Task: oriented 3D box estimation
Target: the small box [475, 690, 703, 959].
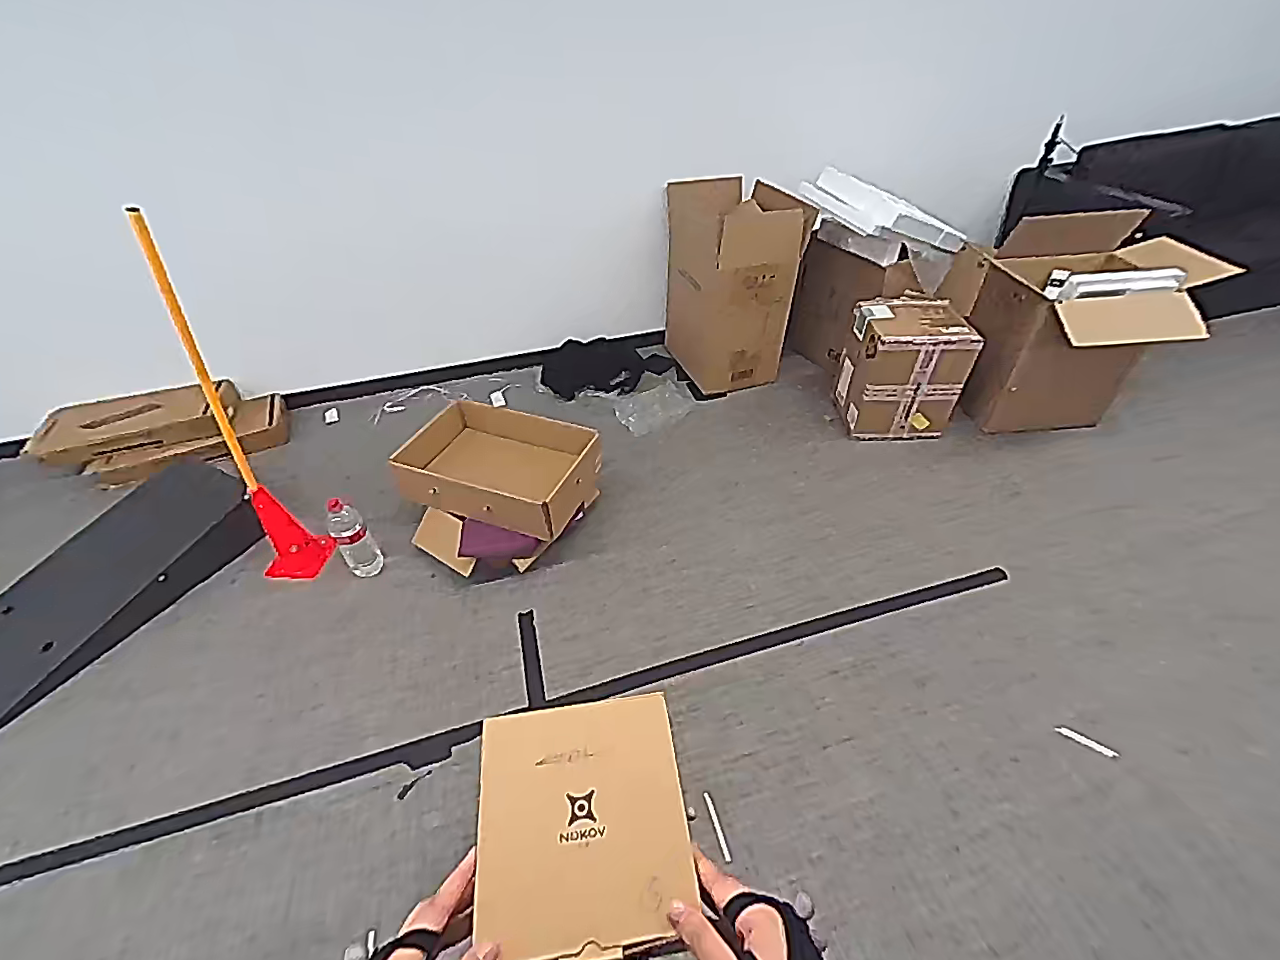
[{"bbox_3d":[-0.045,0.320,0.492,0.168,0.176,0.179,-6,46,-6],"label":"small box"}]
